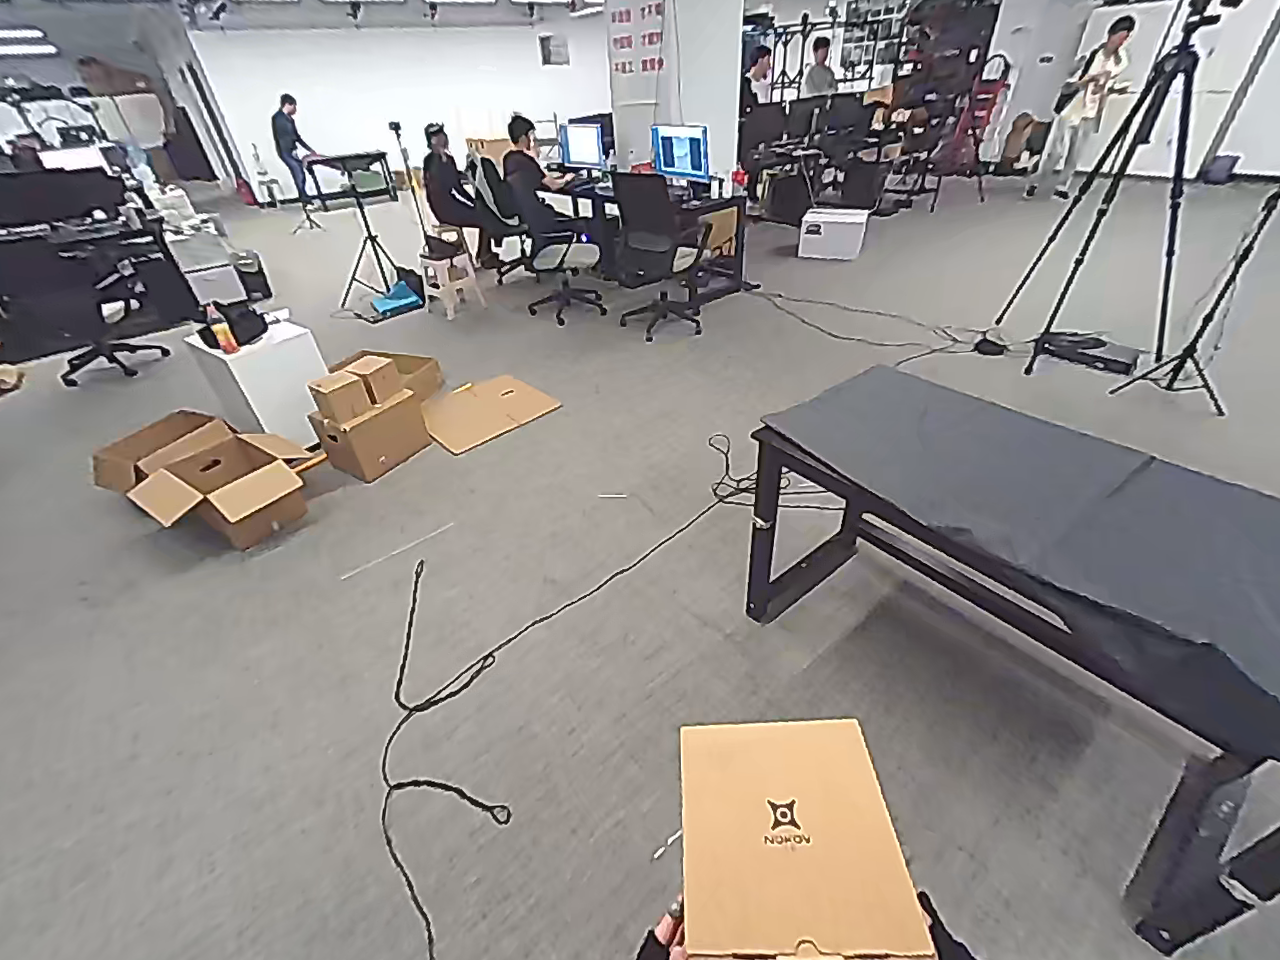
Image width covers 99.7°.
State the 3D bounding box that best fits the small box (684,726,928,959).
[{"bbox_3d":[0.126,0.350,0.483,0.168,0.176,0.179,-5,32,5],"label":"small box"}]
